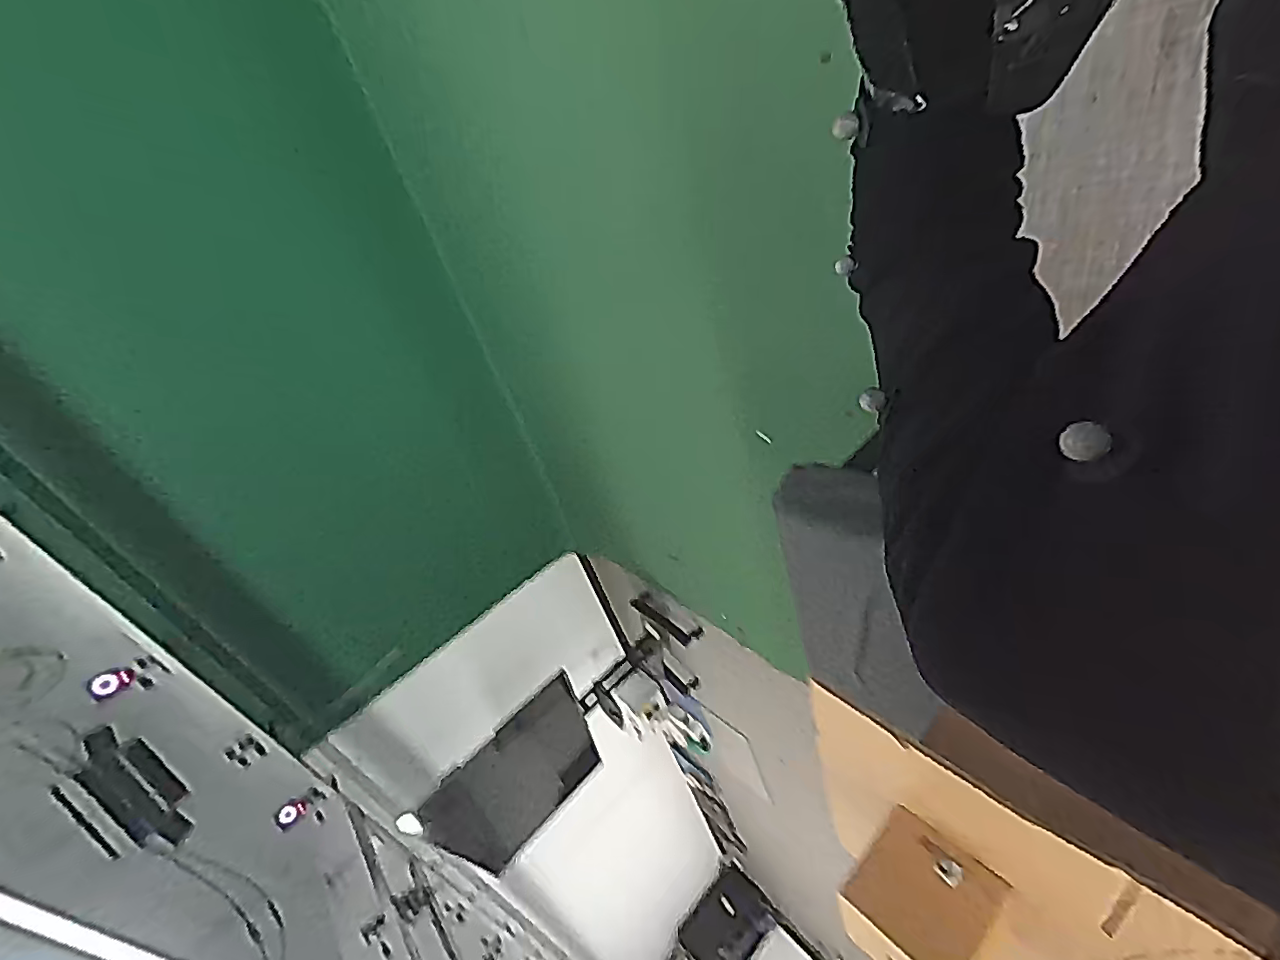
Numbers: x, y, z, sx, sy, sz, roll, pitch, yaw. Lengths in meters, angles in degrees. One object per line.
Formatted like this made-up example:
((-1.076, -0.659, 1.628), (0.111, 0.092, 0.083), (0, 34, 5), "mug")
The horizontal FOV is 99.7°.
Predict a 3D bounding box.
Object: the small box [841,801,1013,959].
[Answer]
((0.426, 0.632, 0.802), (0.168, 0.176, 0.179), (21, 139, 49), "small box")
